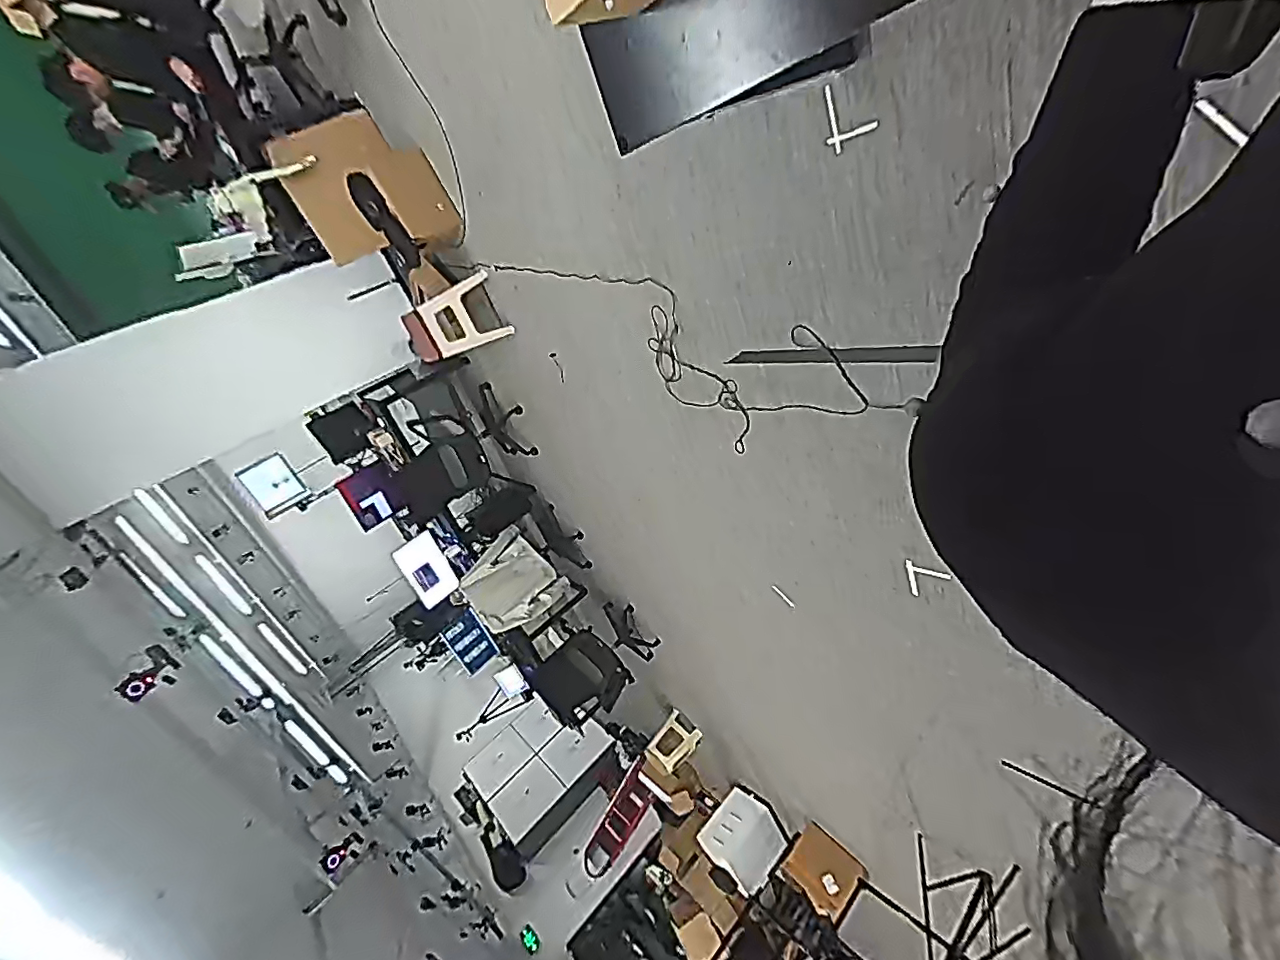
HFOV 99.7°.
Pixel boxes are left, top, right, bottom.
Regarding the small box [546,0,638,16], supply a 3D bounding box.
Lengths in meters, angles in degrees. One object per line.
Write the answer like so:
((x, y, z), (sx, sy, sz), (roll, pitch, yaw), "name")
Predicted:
((-0.034, -0.720, 0.667), (0.179, 0.176, 0.168), (12, 133, 49), "small box")
